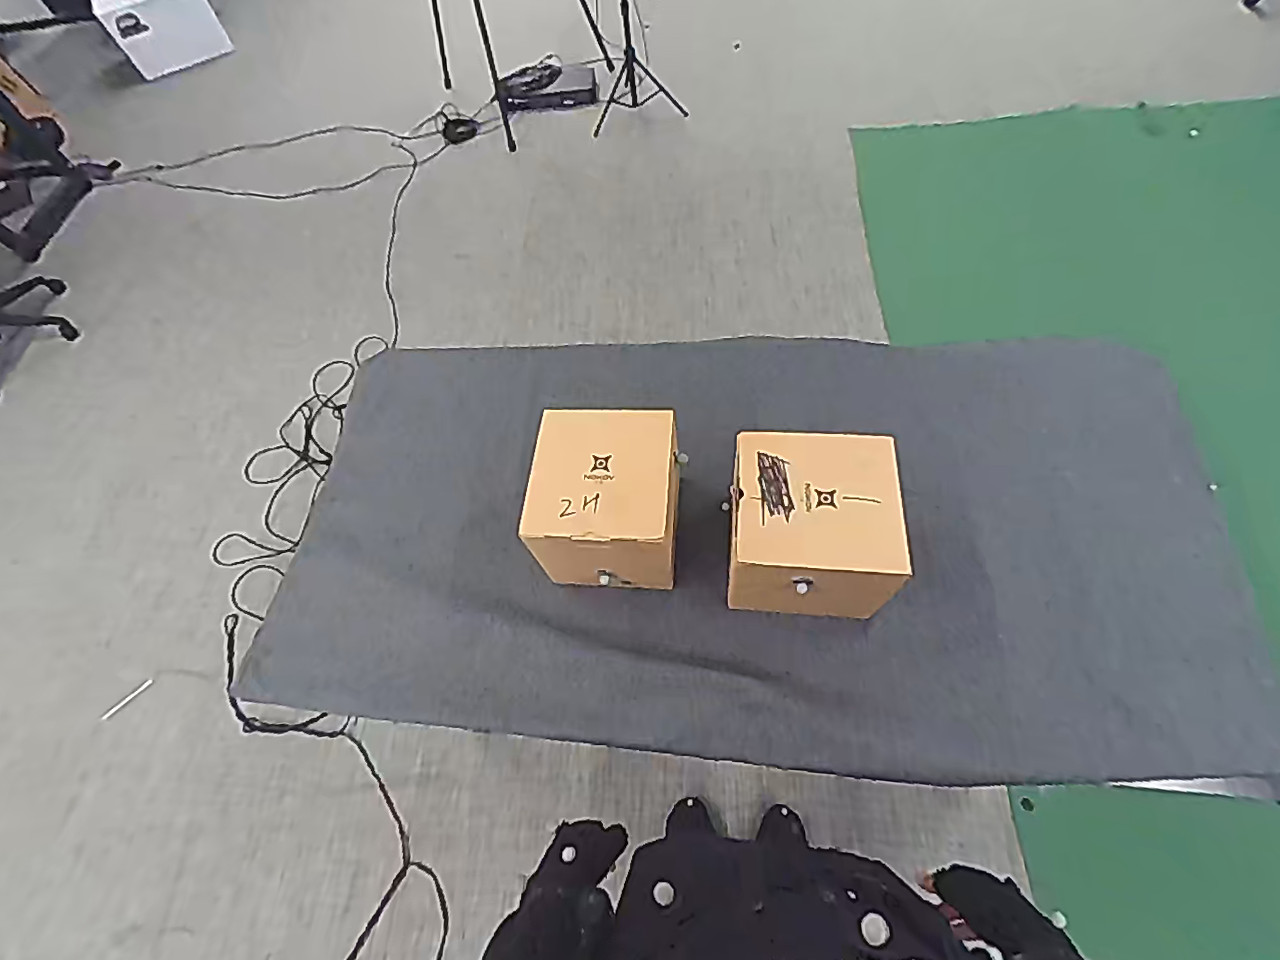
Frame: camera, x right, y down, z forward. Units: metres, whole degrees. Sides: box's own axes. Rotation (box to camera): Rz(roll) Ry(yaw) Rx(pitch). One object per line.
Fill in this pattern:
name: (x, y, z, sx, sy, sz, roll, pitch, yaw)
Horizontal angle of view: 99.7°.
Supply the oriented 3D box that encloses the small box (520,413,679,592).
small box: (-0.039, 0.032, 0.702, 0.168, 0.176, 0.179, 1, 61, 8)
